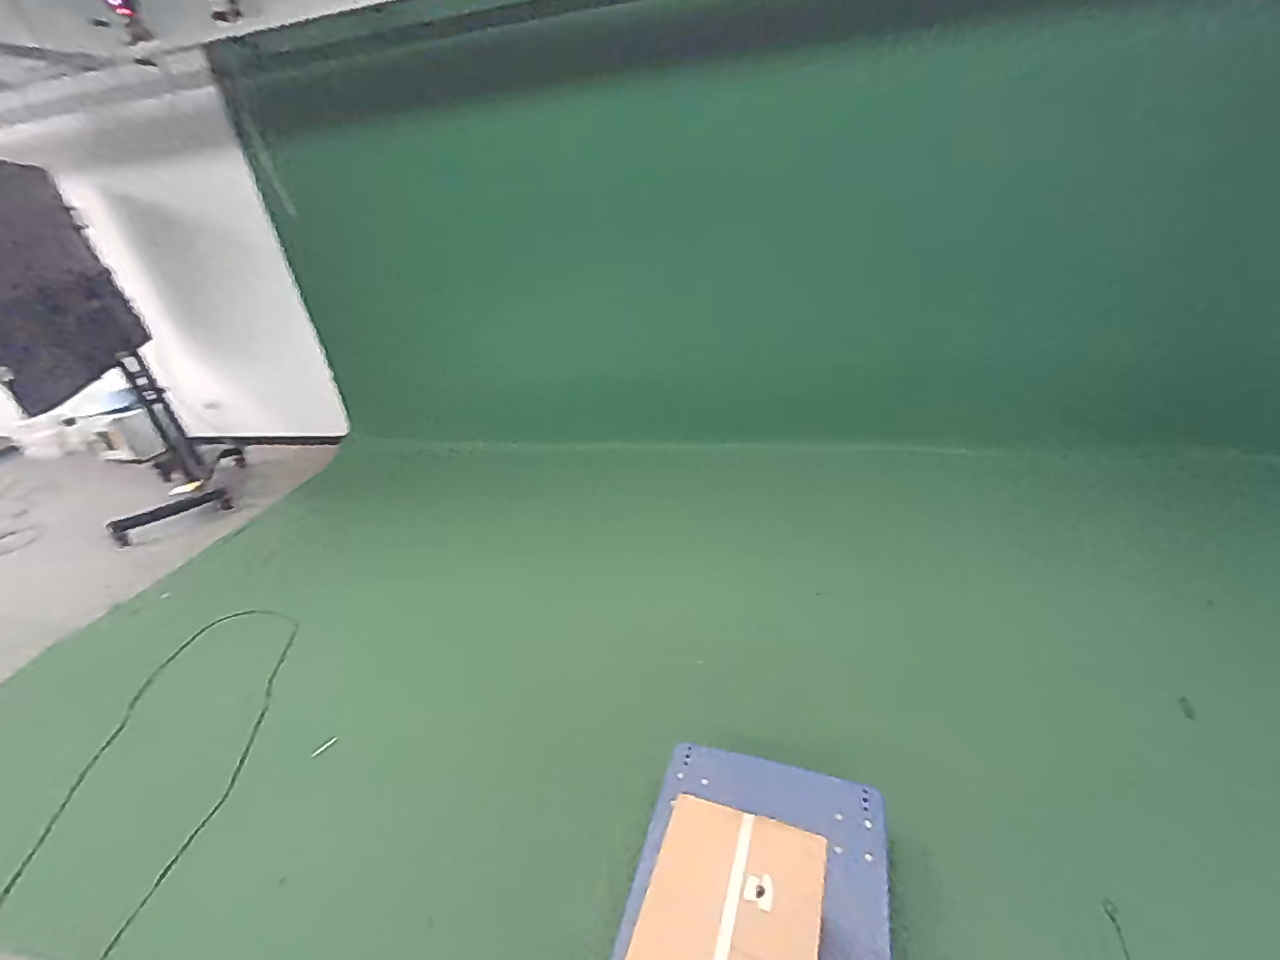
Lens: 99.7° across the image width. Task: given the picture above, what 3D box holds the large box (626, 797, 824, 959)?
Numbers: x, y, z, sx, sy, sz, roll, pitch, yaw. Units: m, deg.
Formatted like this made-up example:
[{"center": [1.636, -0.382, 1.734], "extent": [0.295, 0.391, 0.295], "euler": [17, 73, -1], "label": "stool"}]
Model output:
[{"center": [0.171, 0.934, 1.045], "extent": [0.320, 0.320, 0.408], "euler": [7, 31, 21], "label": "large box"}]
